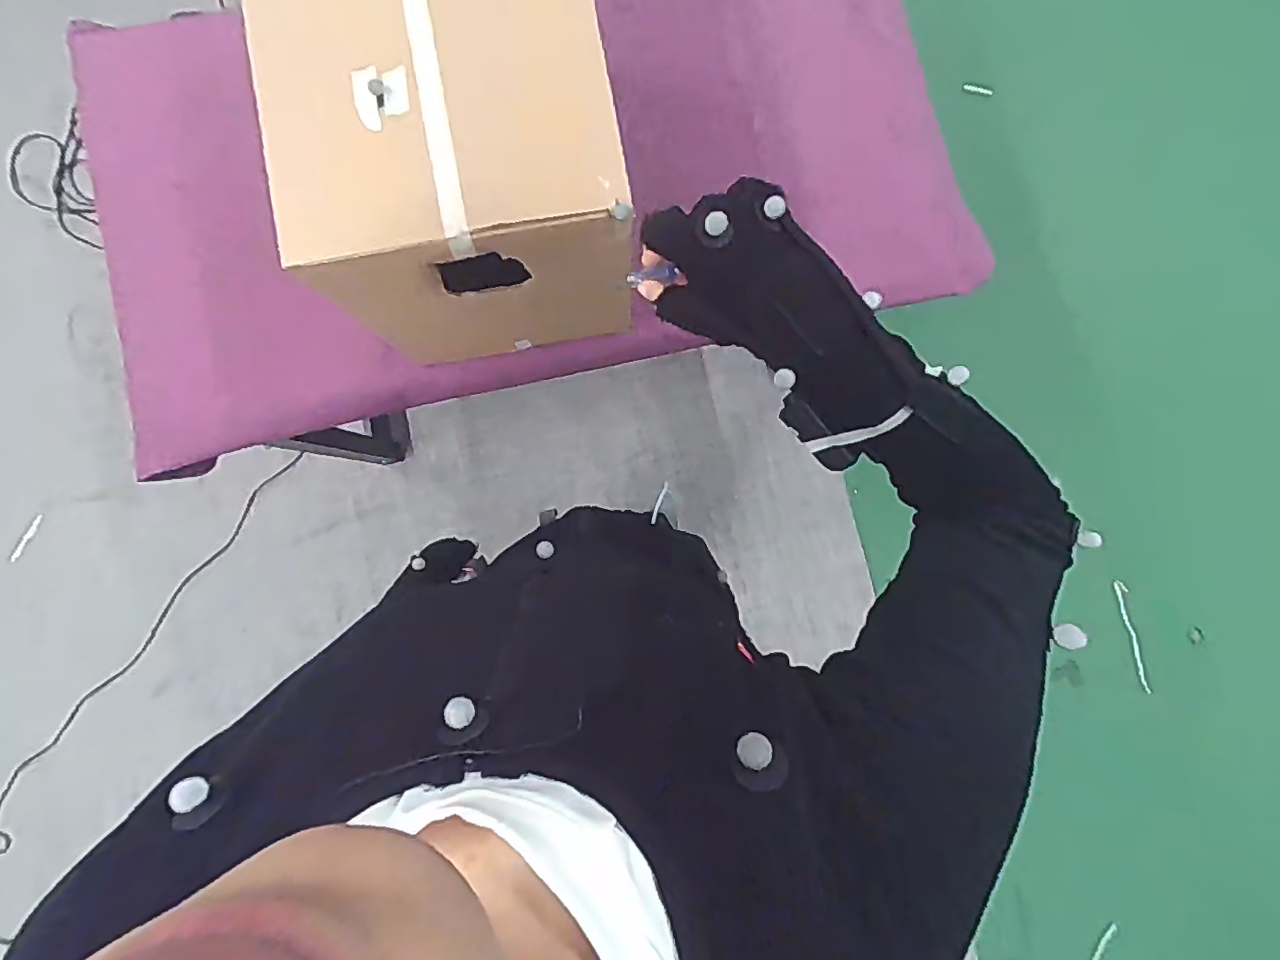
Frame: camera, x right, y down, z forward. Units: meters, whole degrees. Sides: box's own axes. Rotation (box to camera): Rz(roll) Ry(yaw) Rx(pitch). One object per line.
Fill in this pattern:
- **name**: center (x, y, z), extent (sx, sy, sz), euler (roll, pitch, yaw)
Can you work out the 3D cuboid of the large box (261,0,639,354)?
- **large box**: center (-0.194, -0.407, 0.649), extent (0.320, 0.320, 0.408), euler (-10, 88, -2)
